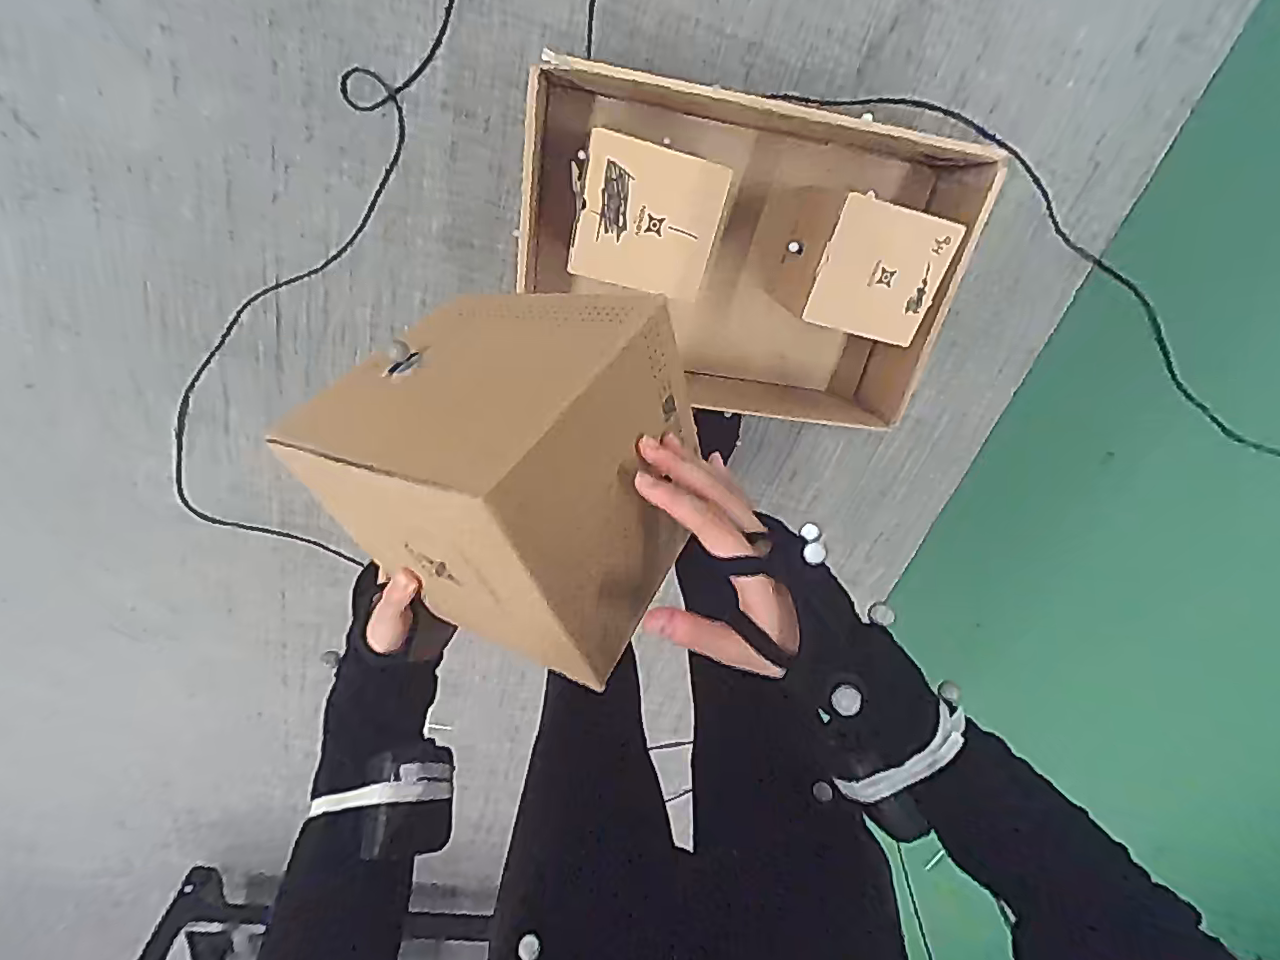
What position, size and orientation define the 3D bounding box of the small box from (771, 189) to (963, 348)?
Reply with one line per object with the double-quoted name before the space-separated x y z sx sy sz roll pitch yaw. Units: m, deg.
"small box" 0.315 -0.314 0.796 0.179 0.176 0.168 12 118 -11
